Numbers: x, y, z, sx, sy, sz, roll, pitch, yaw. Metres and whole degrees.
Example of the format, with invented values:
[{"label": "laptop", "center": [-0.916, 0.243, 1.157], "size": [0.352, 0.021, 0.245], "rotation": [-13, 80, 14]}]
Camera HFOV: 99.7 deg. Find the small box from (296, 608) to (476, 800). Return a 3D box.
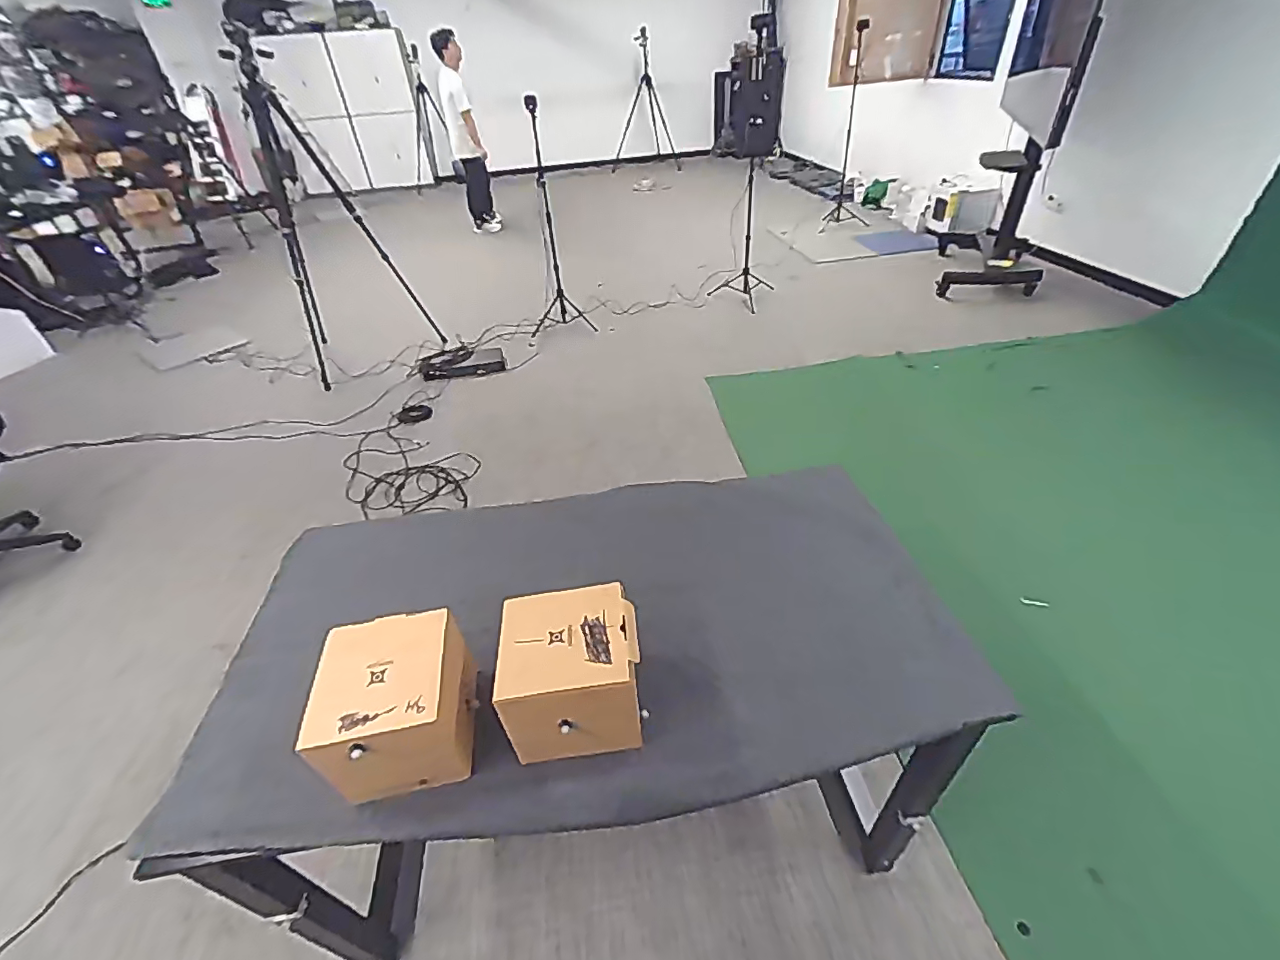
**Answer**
[{"label": "small box", "center": [-0.335, 0.311, 0.758], "size": [0.168, 0.176, 0.179], "rotation": [-10, 39, -5]}]
